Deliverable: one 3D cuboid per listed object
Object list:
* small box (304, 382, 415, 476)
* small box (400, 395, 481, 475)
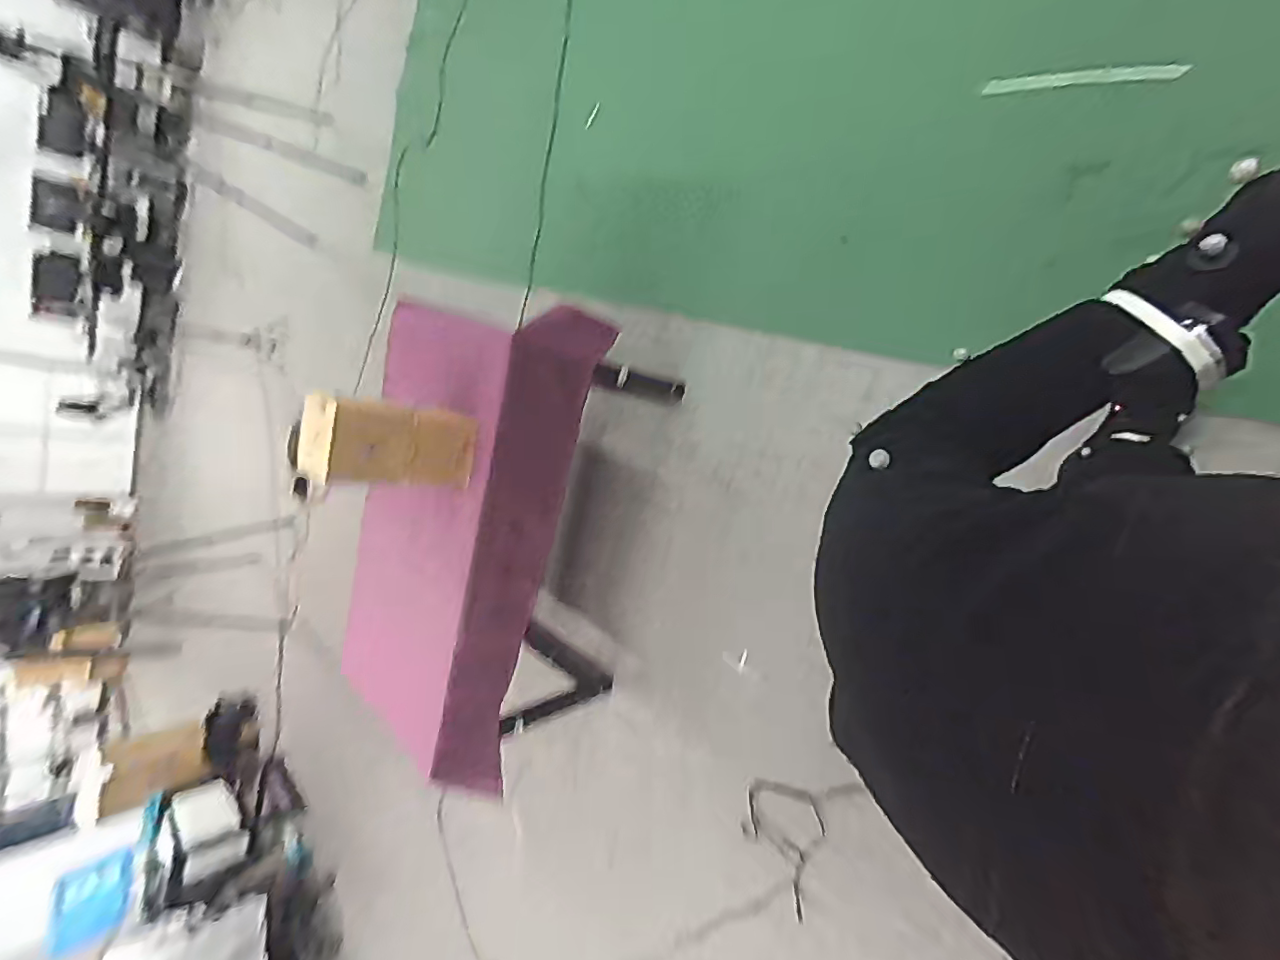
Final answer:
[{"bbox_3d":[-0.625,-0.112,1.210,0.168,0.176,0.179,18,101,37],"label":"small box"},{"bbox_3d":[-0.523,-0.108,1.339,0.179,0.176,0.168,18,100,37],"label":"small box"}]
